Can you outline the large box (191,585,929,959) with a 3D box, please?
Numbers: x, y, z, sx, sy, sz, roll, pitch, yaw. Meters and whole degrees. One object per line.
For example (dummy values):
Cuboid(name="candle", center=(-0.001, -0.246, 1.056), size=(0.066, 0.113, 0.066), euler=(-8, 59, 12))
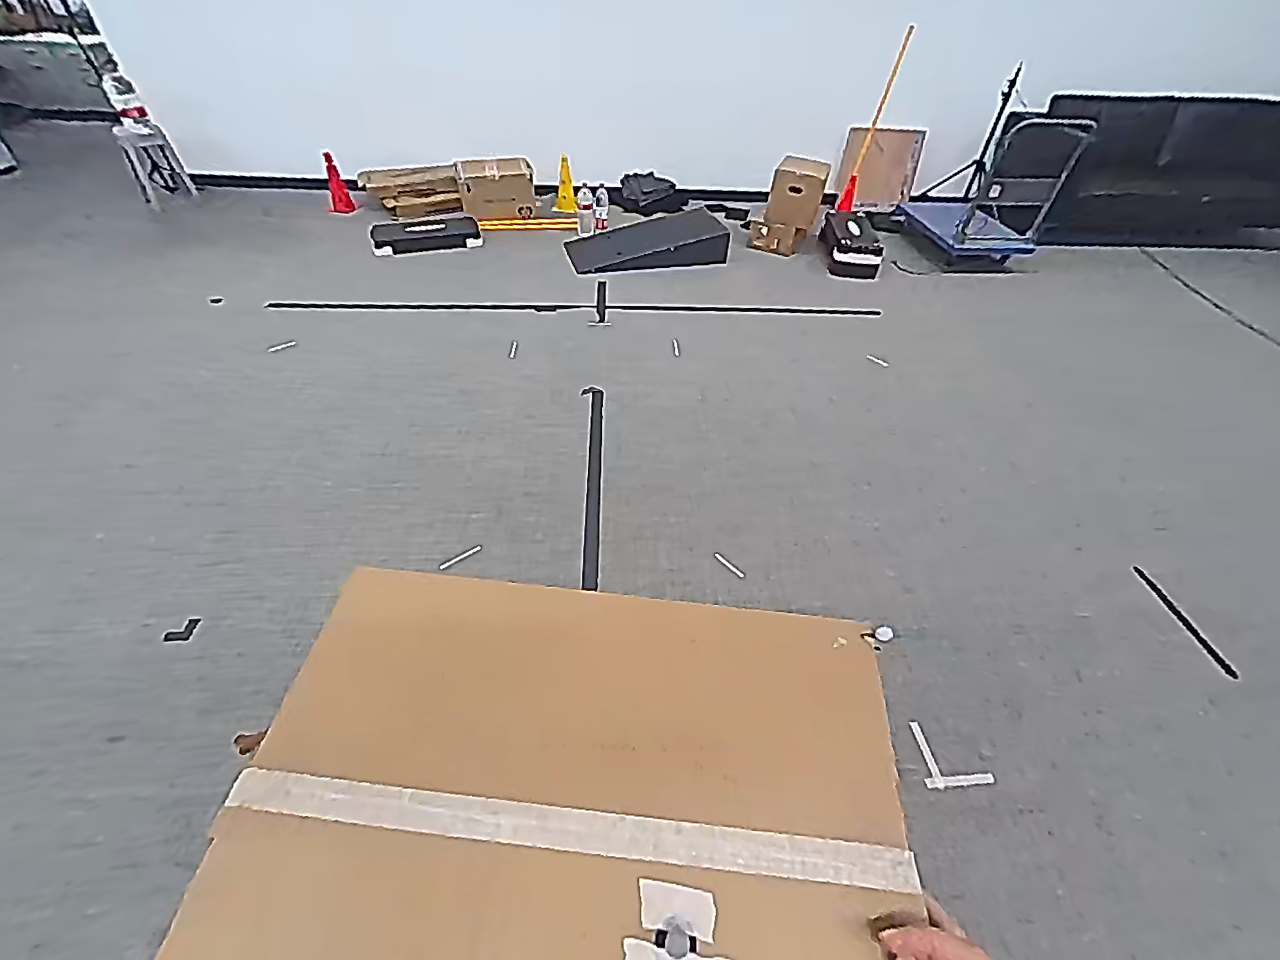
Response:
Cuboid(name="large box", center=(-0.041, 0.312, 0.442), size=(0.408, 0.320, 0.320), euler=(6, 51, 2))
